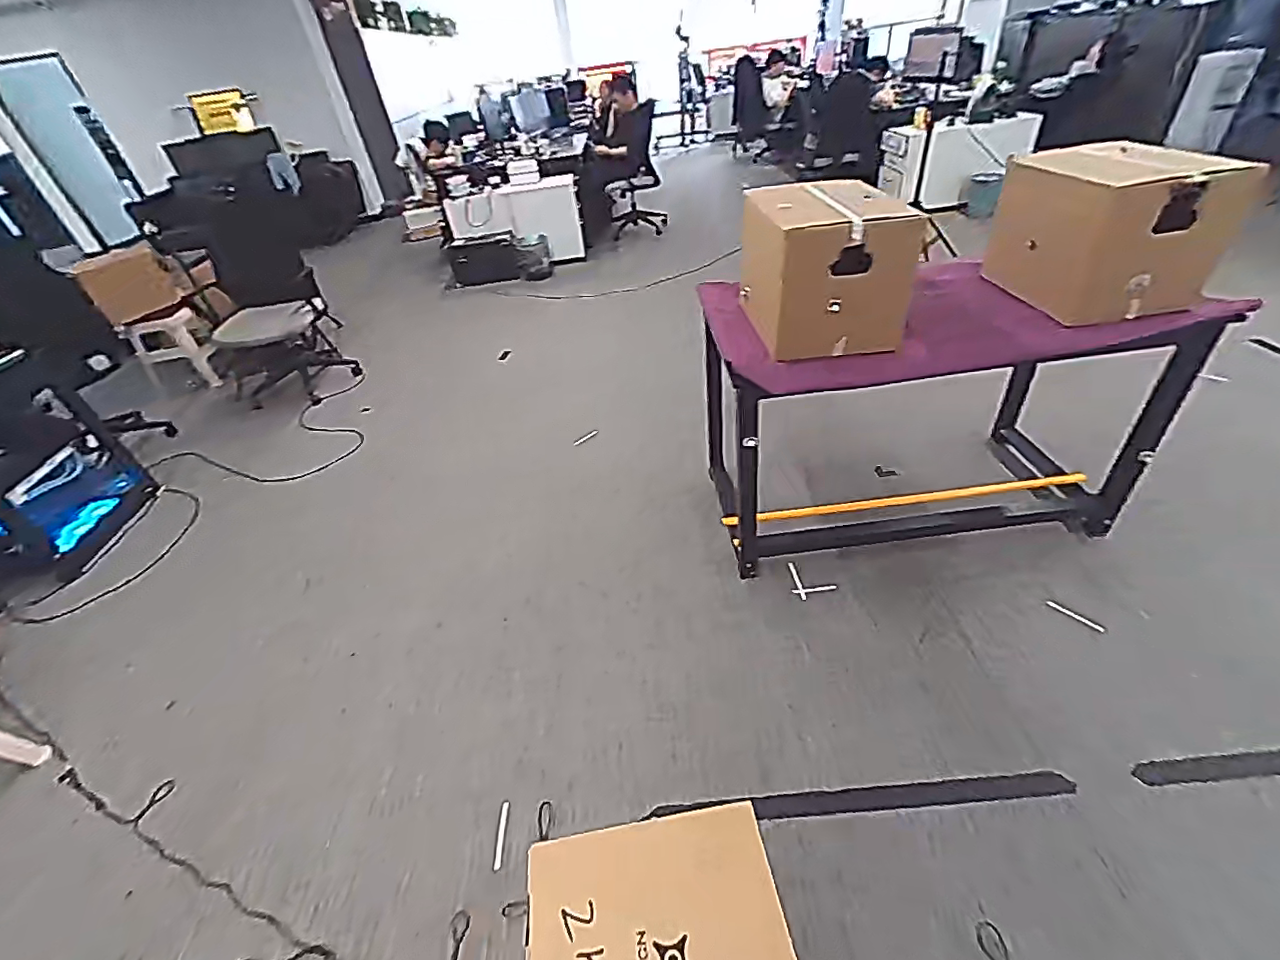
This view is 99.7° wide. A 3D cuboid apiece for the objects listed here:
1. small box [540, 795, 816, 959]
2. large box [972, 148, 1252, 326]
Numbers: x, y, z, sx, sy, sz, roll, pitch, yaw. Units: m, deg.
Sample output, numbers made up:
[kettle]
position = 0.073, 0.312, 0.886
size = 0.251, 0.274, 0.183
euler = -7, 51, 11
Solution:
[small box]
position = 0.028, 0.364, 0.393
size = 0.179, 0.176, 0.168
euler = -9, 37, -4
[large box]
position = 1.137, -0.626, 1.376
size = 0.320, 0.320, 0.408
euler = -8, 37, 0
